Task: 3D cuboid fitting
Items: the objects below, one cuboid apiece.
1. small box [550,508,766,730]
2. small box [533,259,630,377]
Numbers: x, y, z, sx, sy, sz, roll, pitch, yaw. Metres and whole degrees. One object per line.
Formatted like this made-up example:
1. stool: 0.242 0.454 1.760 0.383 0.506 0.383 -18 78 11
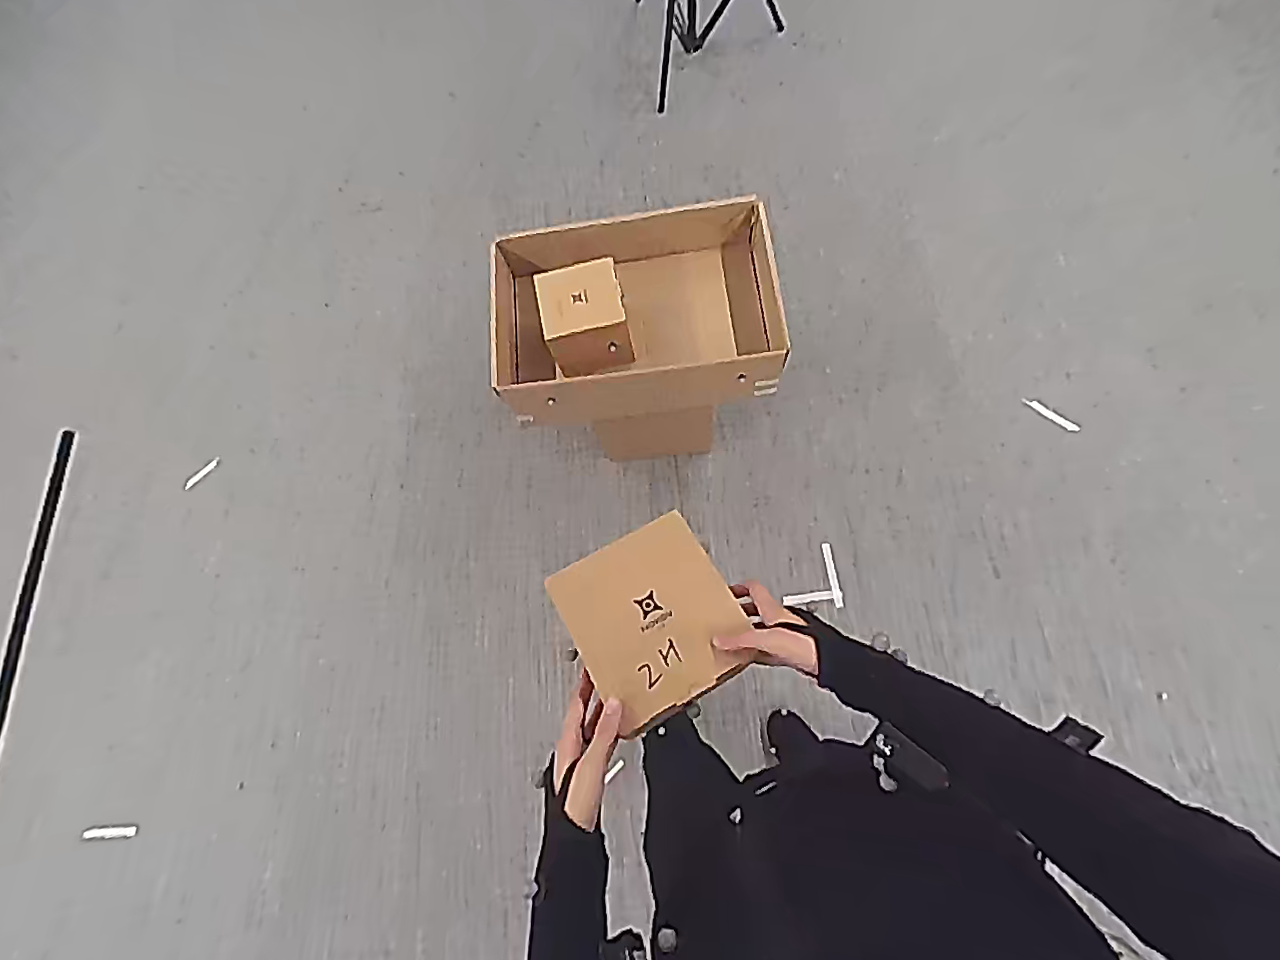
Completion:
1. small box: 0.015 0.166 0.619 0.168 0.176 0.179 -26 67 -11
2. small box: -0.122 -0.351 1.196 0.179 0.176 0.168 -13 72 2
